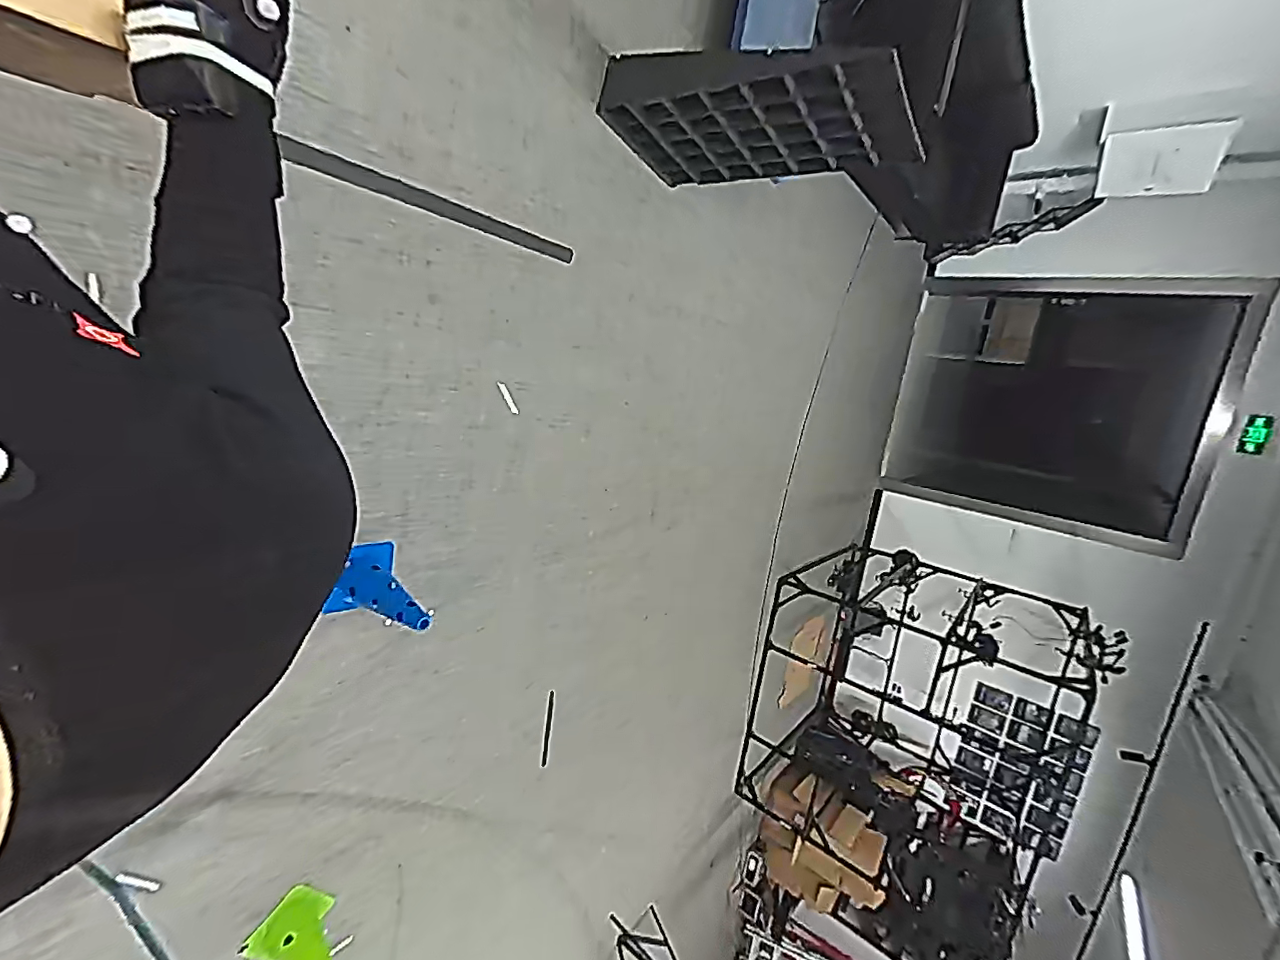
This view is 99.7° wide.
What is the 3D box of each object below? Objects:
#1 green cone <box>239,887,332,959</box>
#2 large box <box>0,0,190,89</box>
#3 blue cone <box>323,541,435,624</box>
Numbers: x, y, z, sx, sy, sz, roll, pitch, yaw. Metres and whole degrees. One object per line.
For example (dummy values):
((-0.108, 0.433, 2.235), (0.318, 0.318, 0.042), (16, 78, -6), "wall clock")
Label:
((-0.953, 1.417, 1.571), (0.202, 0.368, 0.200), (-49, 138, -32), "green cone")
((-0.533, -0.462, 0.268), (0.408, 0.320, 0.320), (-12, 119, -53), "large box")
((-0.699, 0.316, 1.498), (0.192, 0.380, 0.193), (0, 104, -54), "blue cone")
